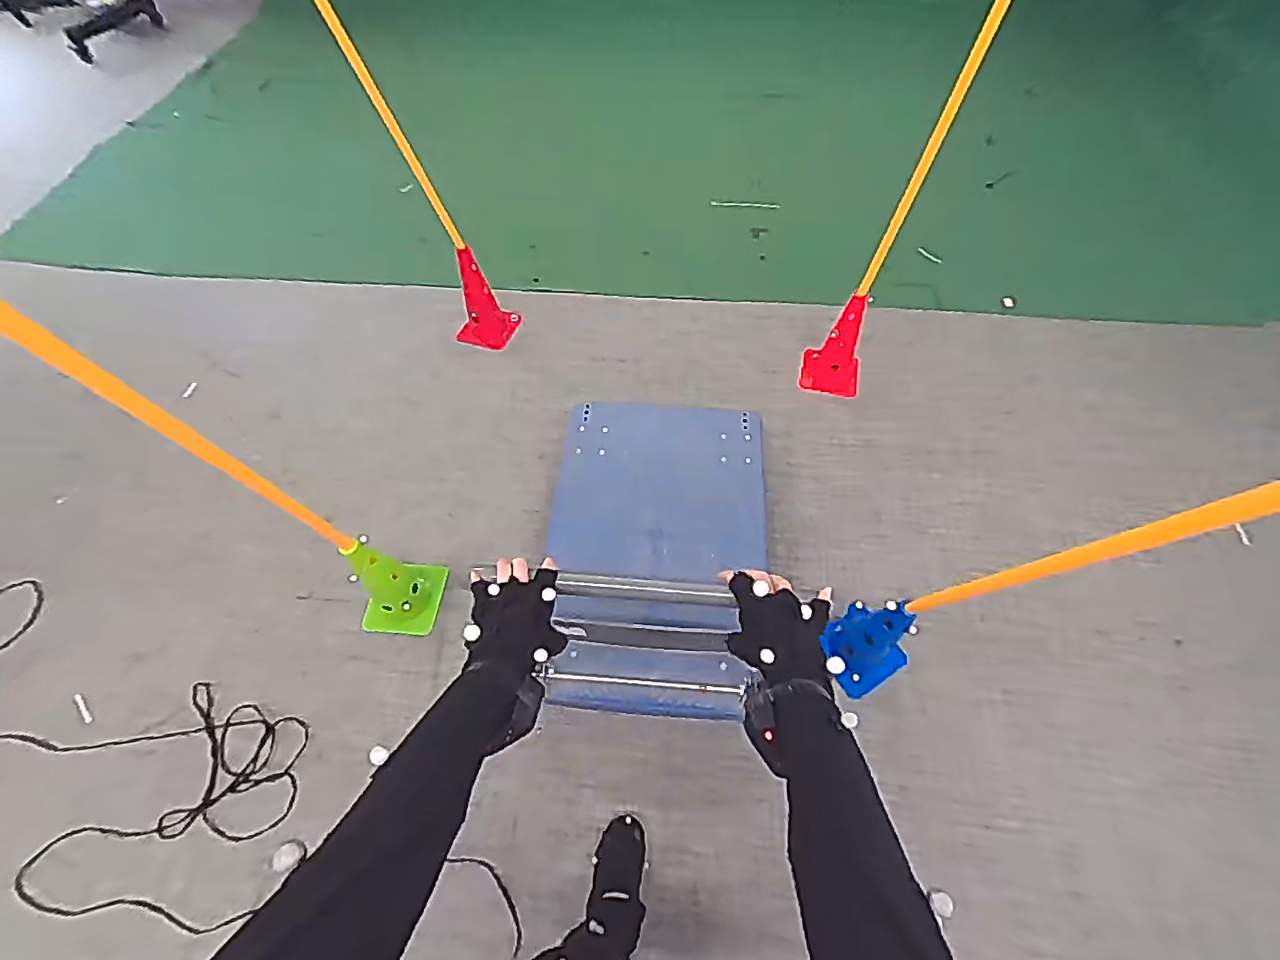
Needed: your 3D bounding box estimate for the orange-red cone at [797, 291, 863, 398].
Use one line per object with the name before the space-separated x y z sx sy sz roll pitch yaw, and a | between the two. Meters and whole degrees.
orange-red cone | 0.670 -0.471 1.798 0.198 0.360 0.199 13 60 10
